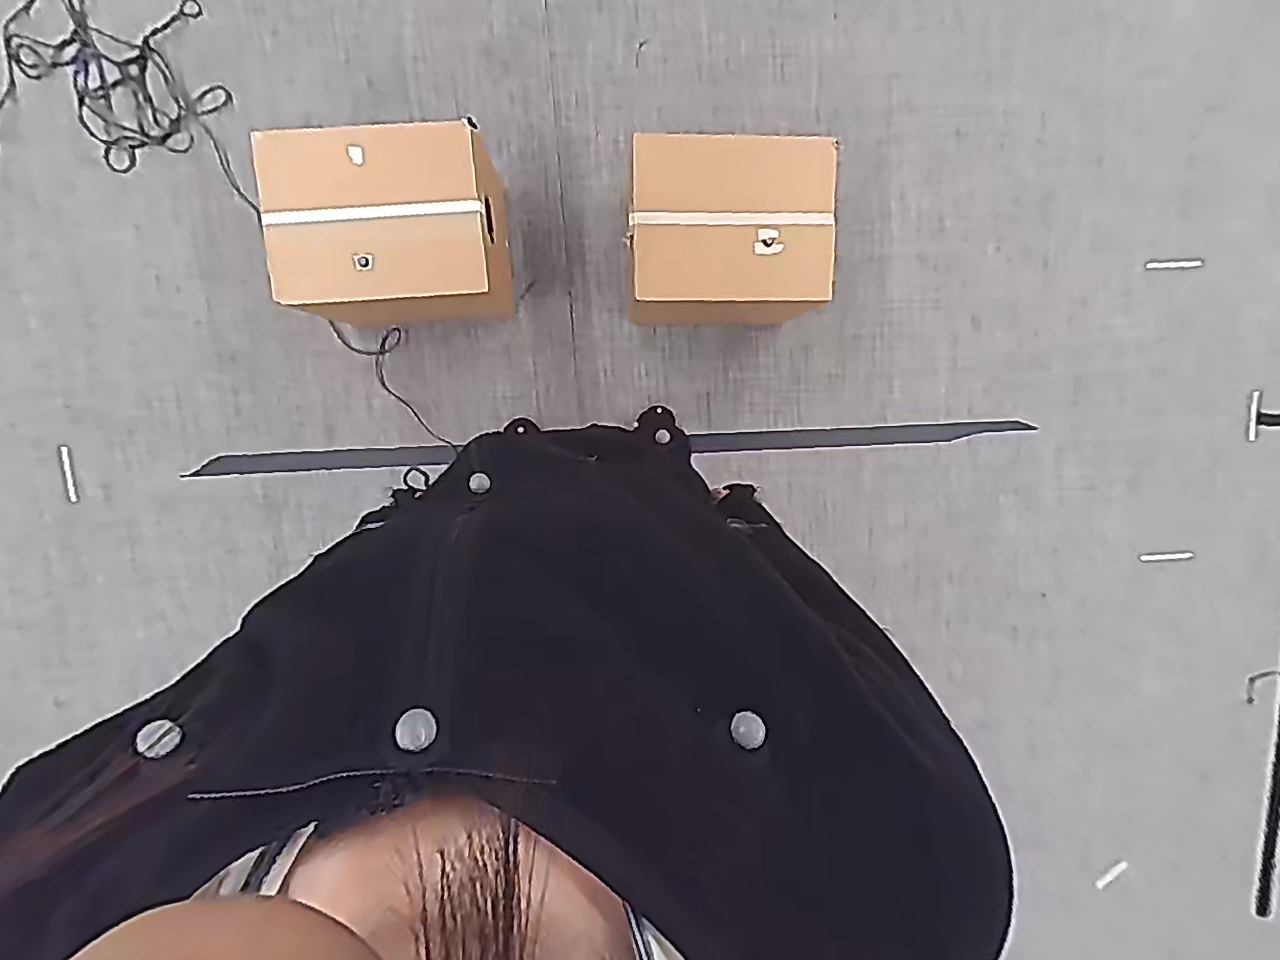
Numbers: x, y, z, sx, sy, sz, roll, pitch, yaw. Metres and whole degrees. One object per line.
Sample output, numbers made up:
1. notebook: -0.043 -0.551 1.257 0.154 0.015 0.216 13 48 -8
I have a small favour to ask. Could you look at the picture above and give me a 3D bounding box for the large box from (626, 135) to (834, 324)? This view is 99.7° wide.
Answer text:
1. large box: 0.178 -0.538 1.225 0.408 0.320 0.320 -1 98 -4
